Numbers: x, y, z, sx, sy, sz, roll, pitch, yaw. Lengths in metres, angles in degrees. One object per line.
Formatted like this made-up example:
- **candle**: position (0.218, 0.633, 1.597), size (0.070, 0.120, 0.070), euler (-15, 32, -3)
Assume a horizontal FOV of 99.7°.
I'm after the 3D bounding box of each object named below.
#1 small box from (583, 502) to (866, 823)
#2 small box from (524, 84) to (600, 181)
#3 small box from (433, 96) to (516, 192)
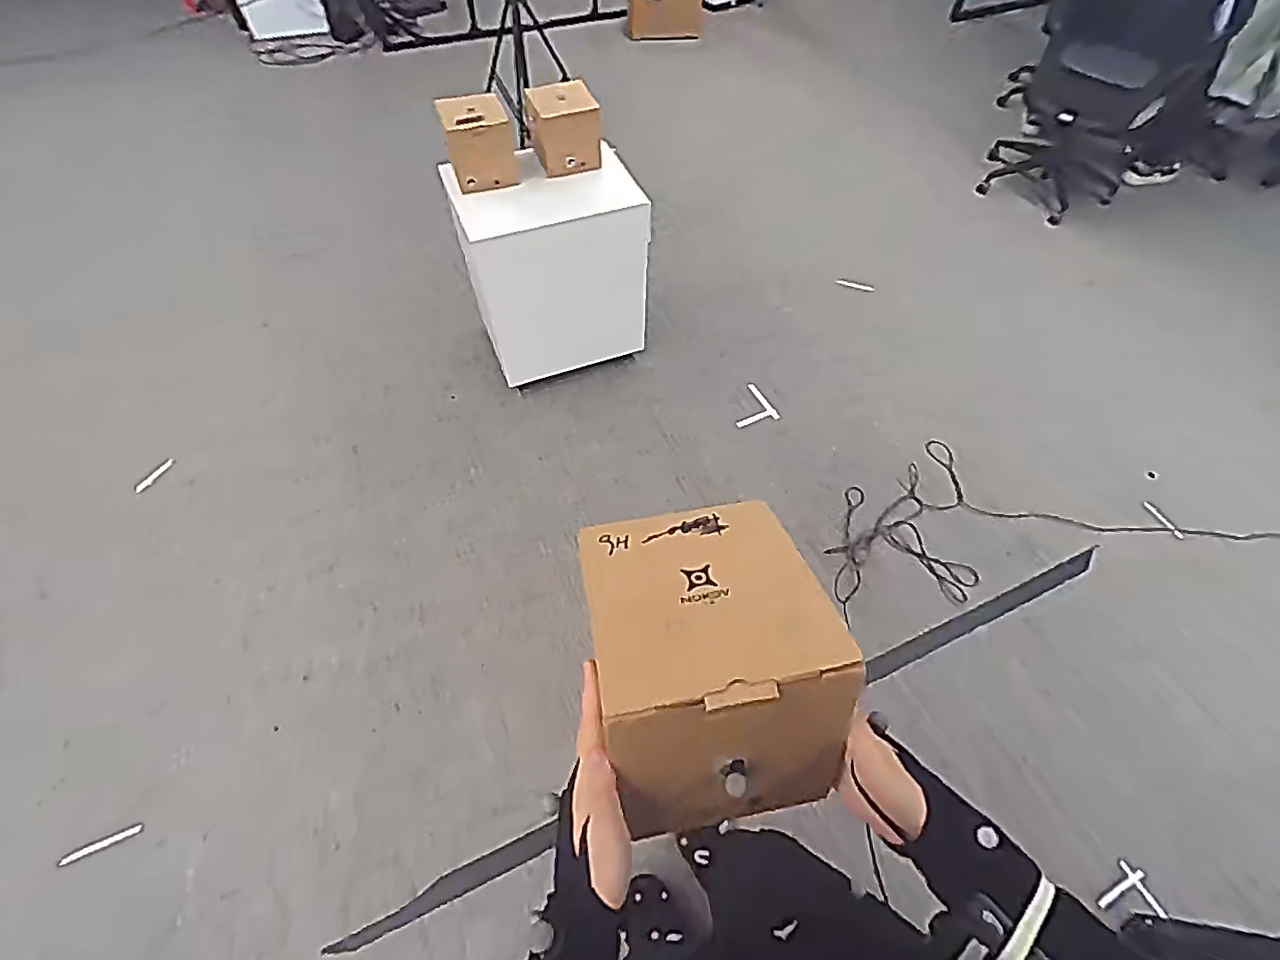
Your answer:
- **small box**: position (0.051, 0.145, 0.434), size (0.168, 0.176, 0.179), euler (-8, 36, -7)
- **small box**: position (-0.221, -0.995, 1.553), size (0.168, 0.176, 0.179), euler (-20, 62, -12)
- **small box**: position (-0.453, -0.920, 1.495), size (0.168, 0.176, 0.179), euler (-18, 60, -13)
